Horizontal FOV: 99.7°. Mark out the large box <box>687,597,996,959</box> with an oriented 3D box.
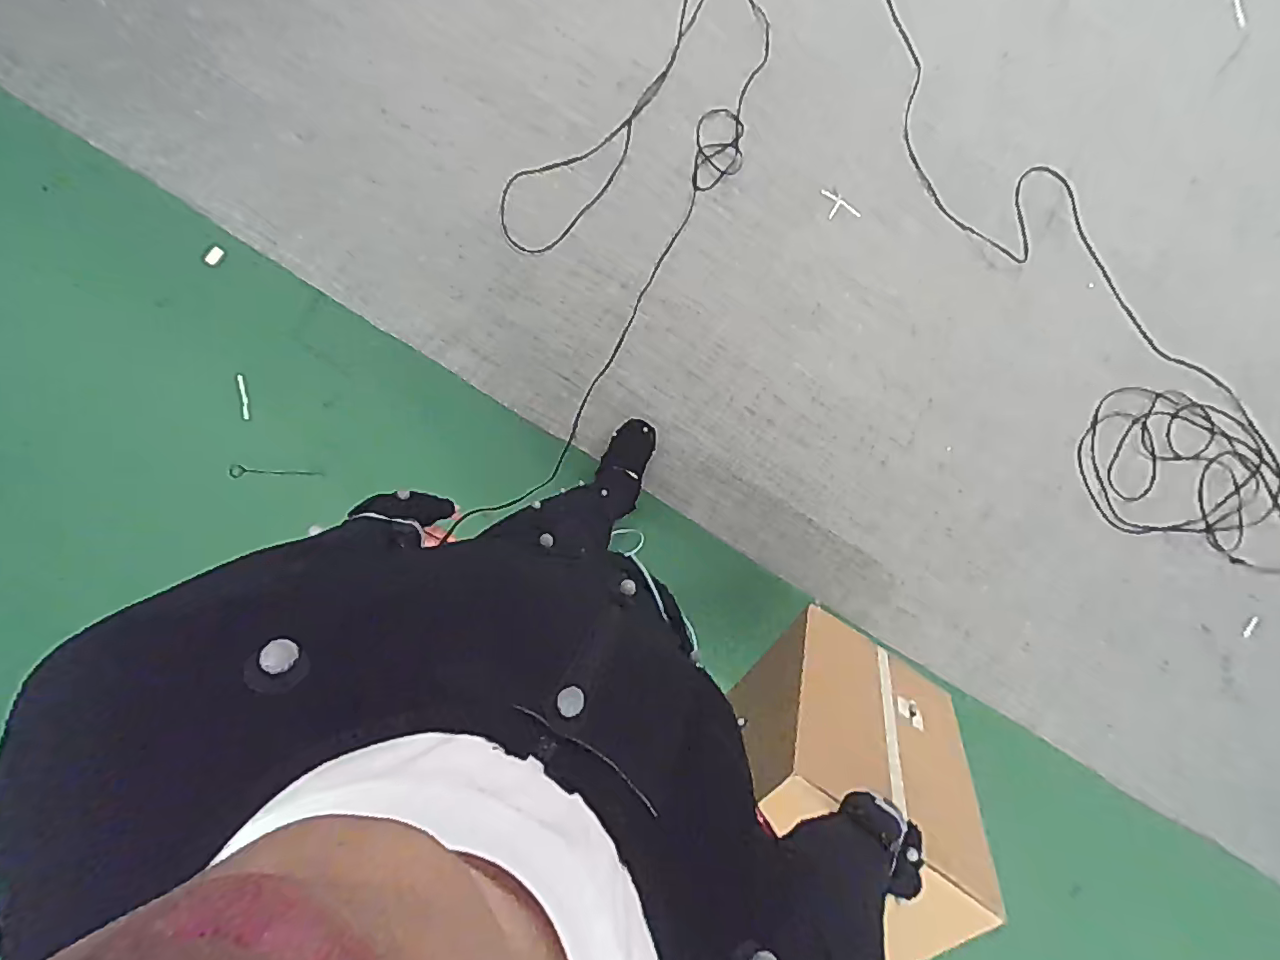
[{"bbox_3d":[0.323,0.494,0.941,0.320,0.408,0.320,35,118,5],"label":"large box"}]
